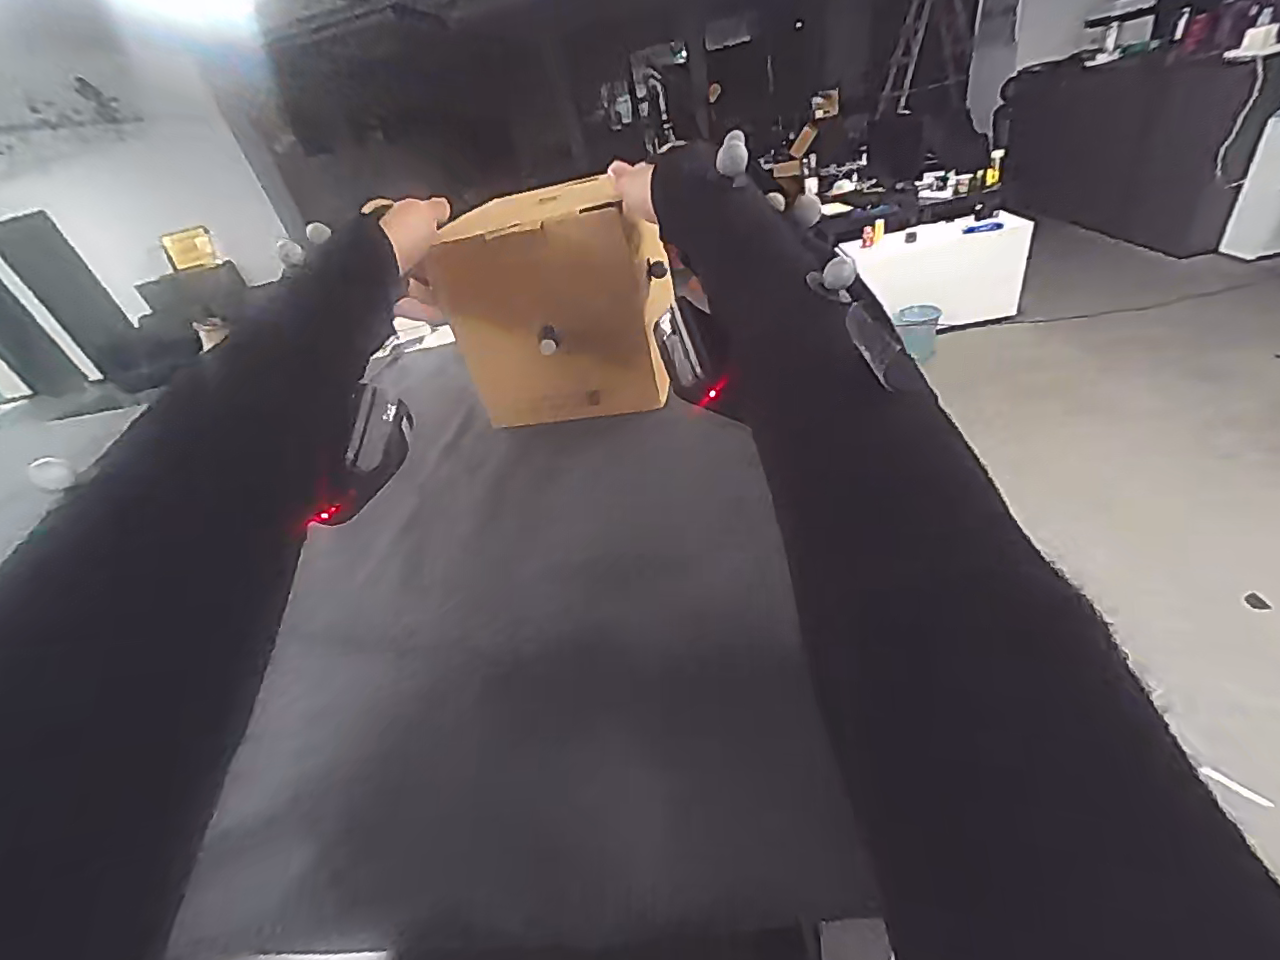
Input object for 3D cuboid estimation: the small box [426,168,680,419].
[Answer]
[{"bbox_3d":[-0.060,-0.169,0.512,0.168,0.176,0.179,-5,38,14],"label":"small box"}]
